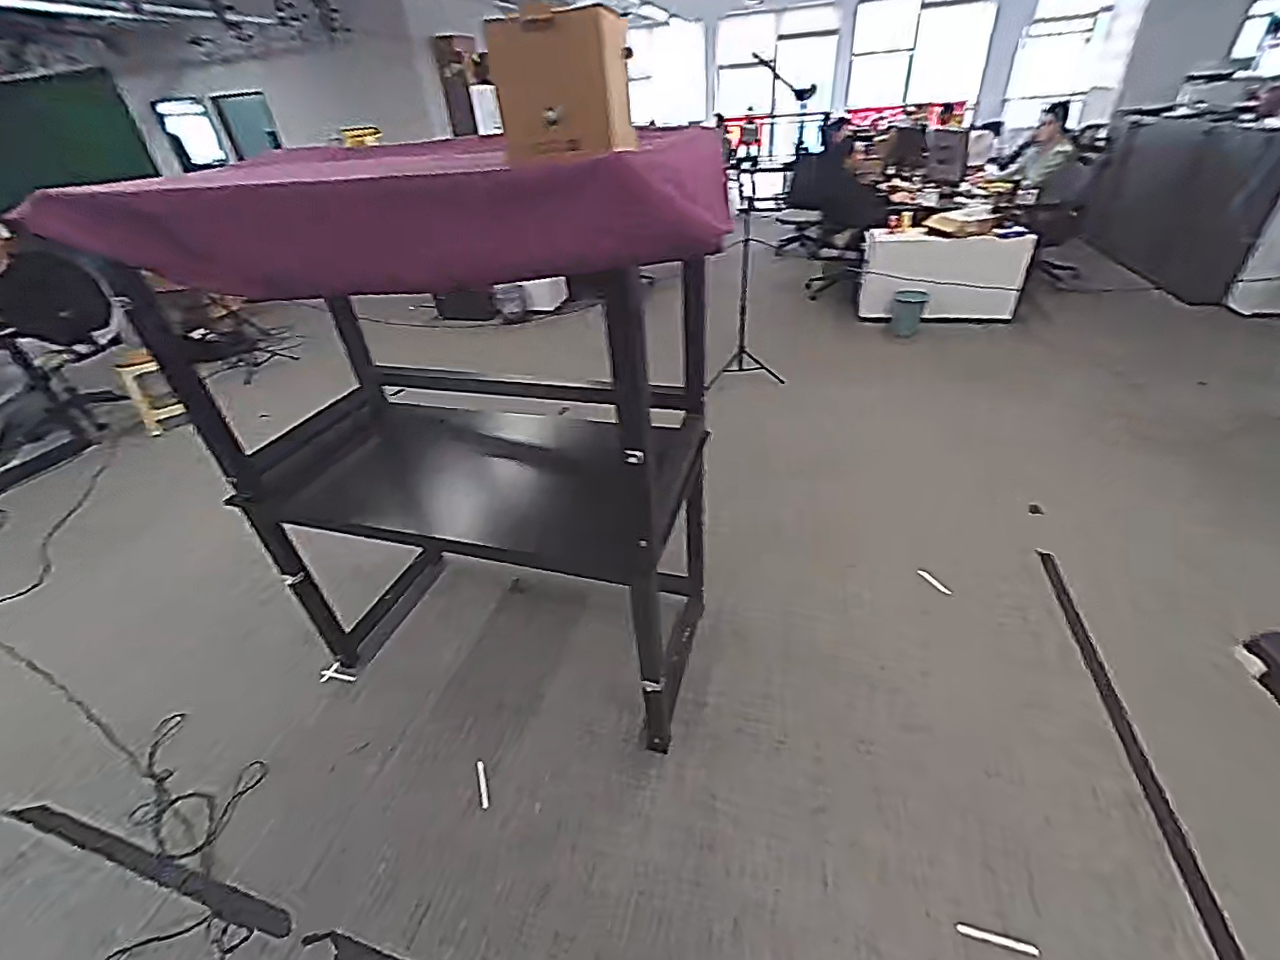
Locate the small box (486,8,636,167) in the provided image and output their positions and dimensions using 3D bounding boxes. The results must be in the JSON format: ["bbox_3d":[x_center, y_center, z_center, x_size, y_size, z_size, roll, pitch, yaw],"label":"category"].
[{"bbox_3d":[-0.102,-0.568,0.801,0.168,0.176,0.179,1,34,11],"label":"small box"}]
